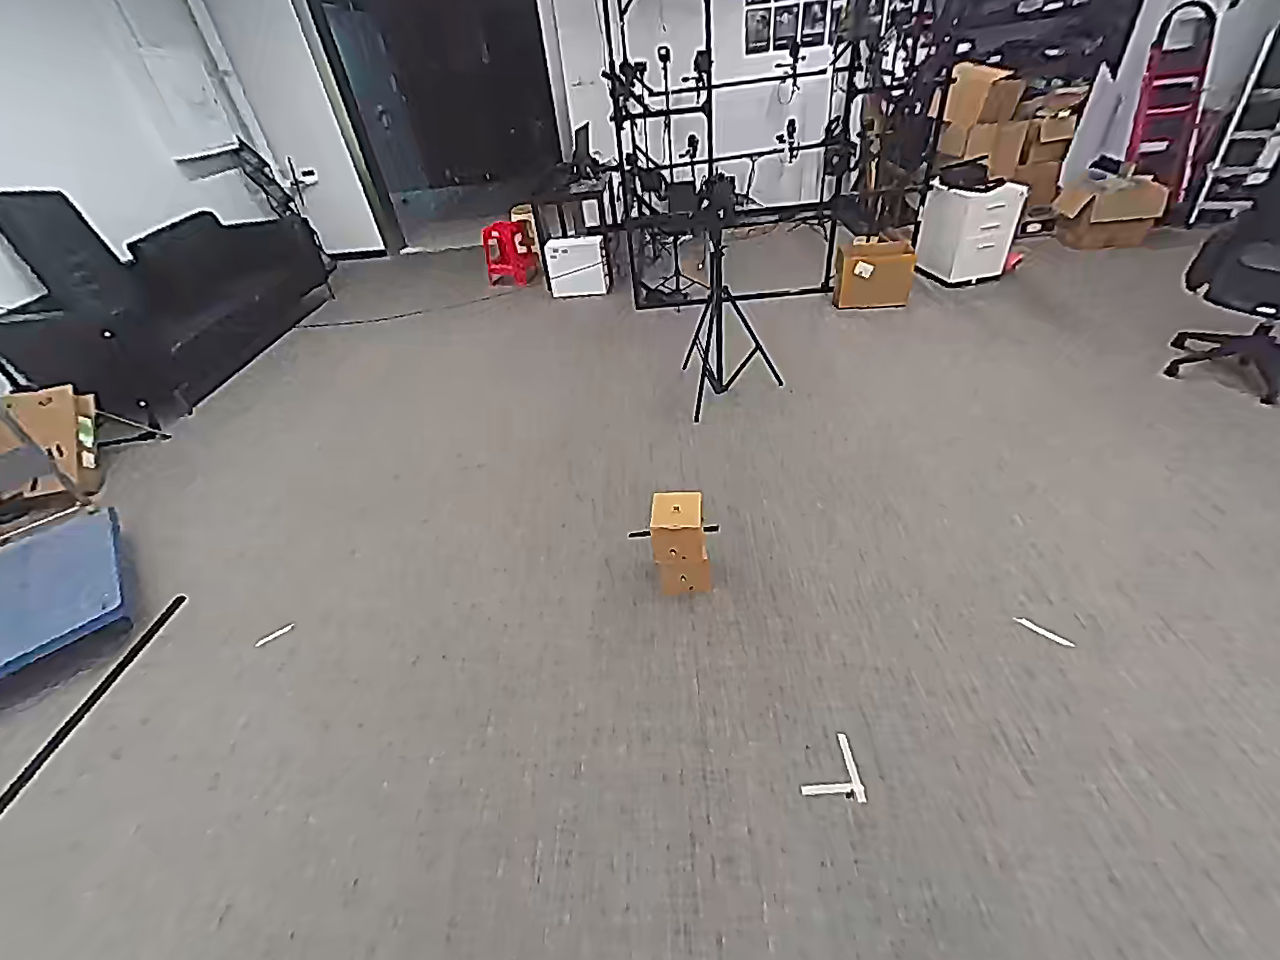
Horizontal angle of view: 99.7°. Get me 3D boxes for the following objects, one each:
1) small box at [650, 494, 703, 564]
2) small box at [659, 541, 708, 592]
[{"bbox_3d":[0.130,0.167,1.850,0.168,0.176,0.179,-1,39,8],"label":"small box"},{"bbox_3d":[0.153,0.291,1.953,0.168,0.176,0.179,-5,37,3],"label":"small box"}]
